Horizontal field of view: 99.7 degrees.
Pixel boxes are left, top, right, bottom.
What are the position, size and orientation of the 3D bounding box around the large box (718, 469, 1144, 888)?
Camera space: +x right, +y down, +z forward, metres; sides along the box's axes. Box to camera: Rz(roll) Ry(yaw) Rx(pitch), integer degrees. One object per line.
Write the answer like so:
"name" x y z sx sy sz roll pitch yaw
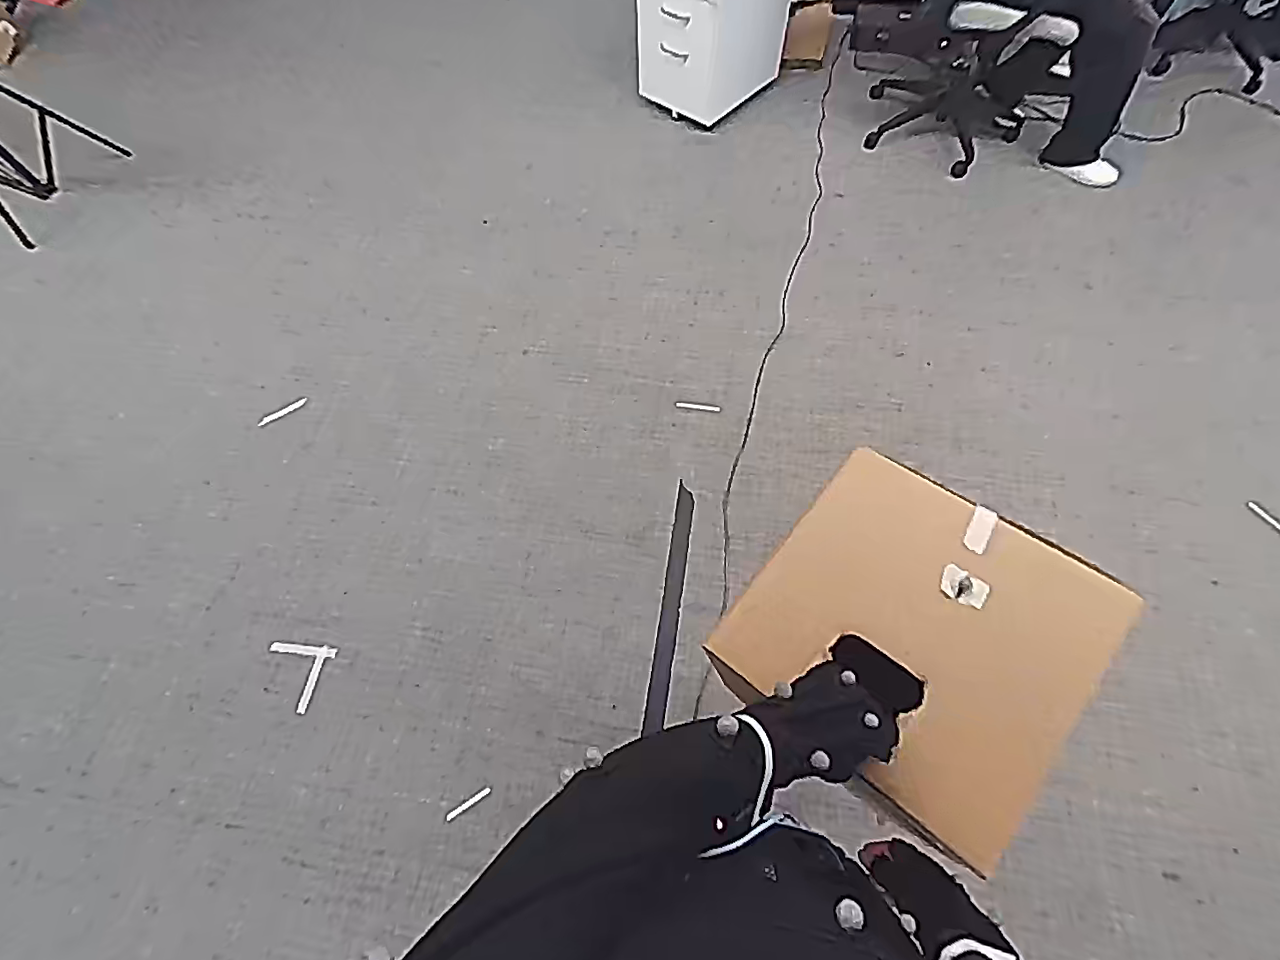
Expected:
"large box" 0.339 0.253 0.731 0.320 0.408 0.320 37 78 28
